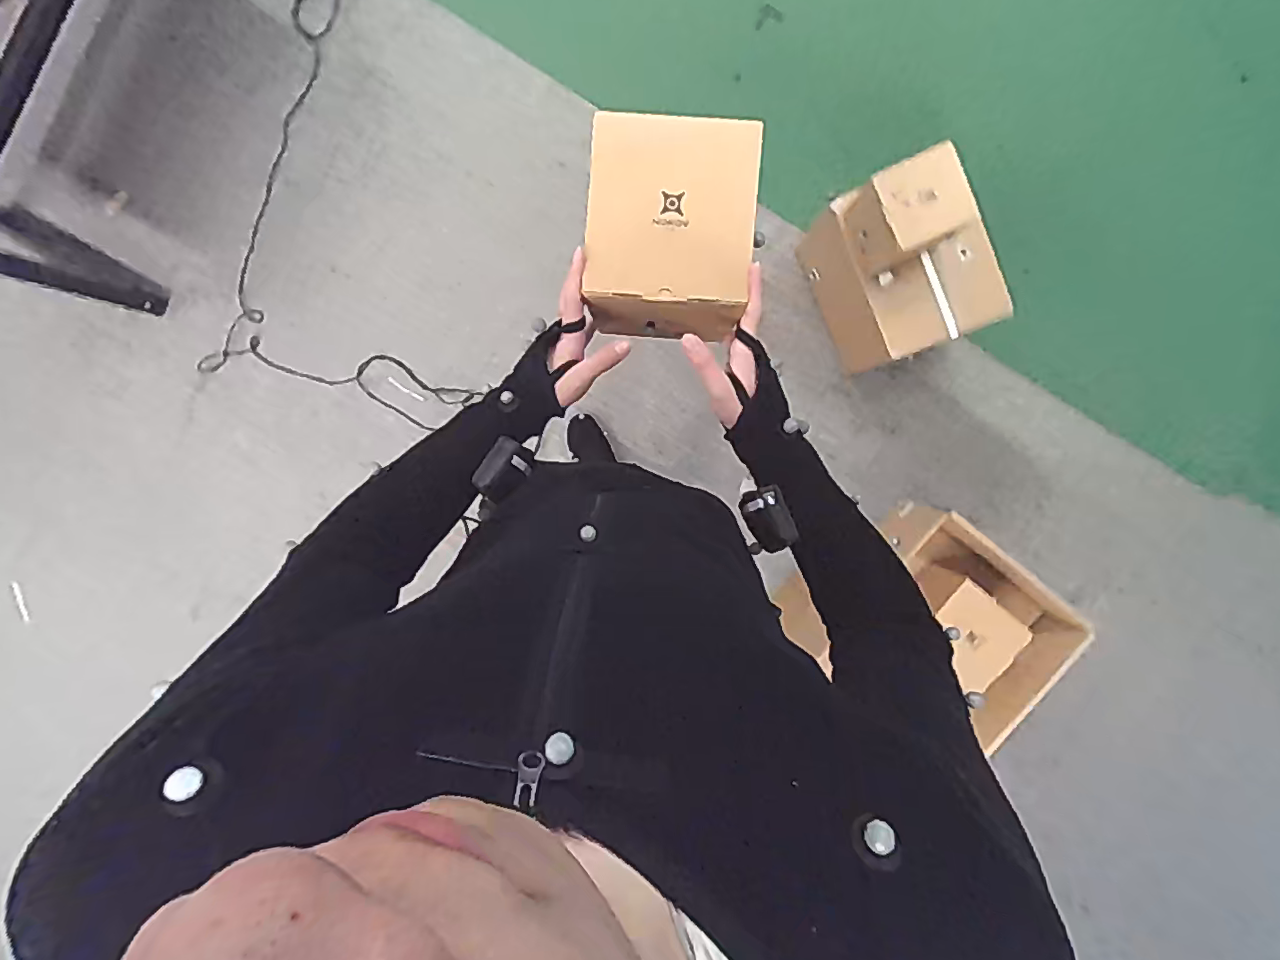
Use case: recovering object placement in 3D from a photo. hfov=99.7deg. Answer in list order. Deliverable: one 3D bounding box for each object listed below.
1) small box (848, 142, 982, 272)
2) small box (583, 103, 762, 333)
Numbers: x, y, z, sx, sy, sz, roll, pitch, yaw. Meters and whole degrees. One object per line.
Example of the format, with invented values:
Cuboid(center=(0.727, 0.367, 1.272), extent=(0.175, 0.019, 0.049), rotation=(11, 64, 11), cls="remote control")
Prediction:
Cuboid(center=(0.586, -0.581, 1.173), extent=(0.179, 0.176, 0.168), rotation=(-23, 94, 4), cls="small box")
Cuboid(center=(0.030, -0.272, 0.598), extent=(0.168, 0.176, 0.179), rotation=(3, 94, 0), cls="small box")
